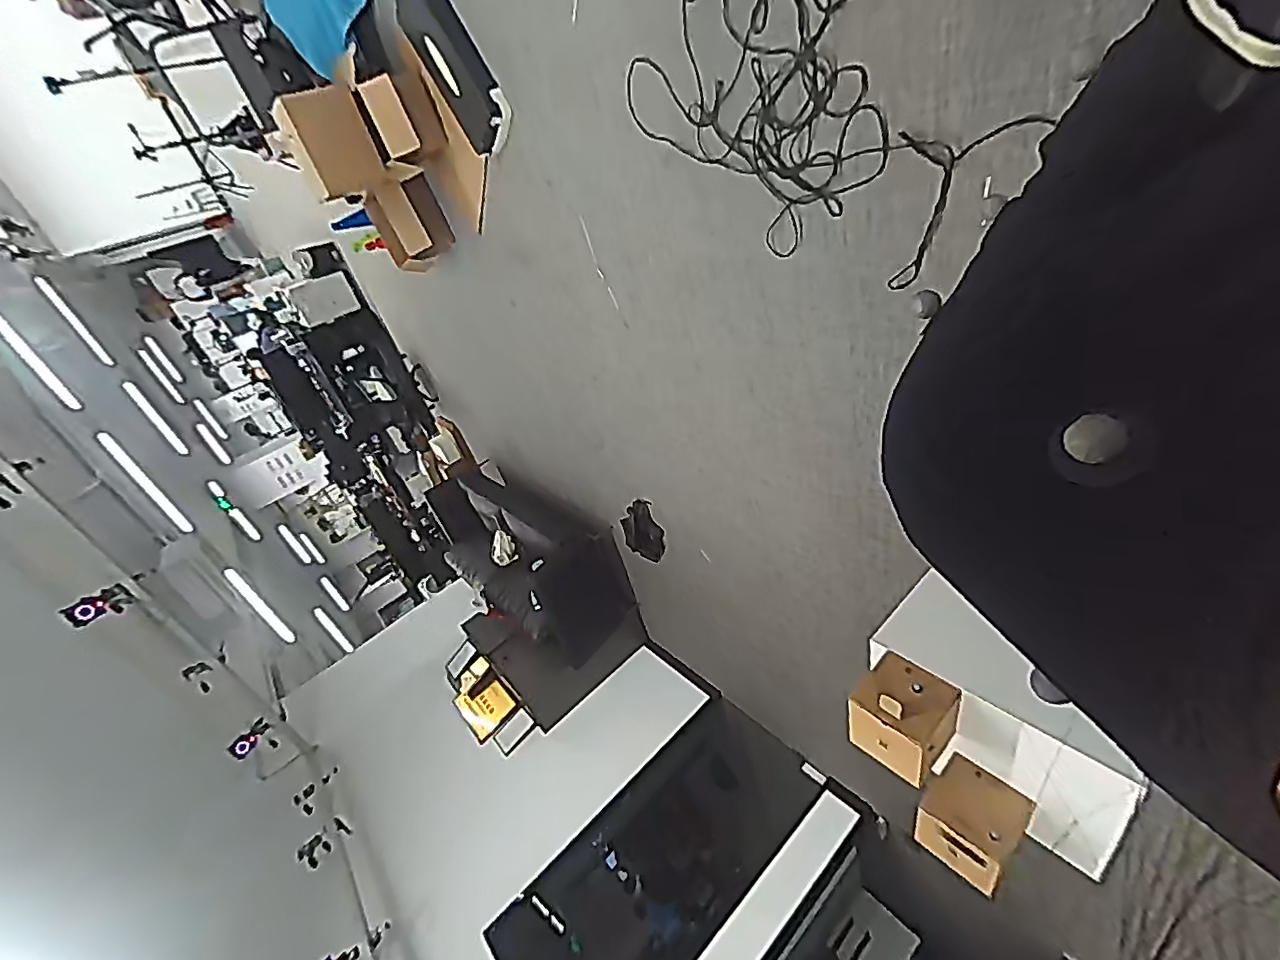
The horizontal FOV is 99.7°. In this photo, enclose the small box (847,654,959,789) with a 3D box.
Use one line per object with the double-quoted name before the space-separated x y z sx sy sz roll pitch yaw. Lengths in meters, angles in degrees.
"small box" 0.582 0.530 1.200 0.168 0.176 0.179 26 142 45
